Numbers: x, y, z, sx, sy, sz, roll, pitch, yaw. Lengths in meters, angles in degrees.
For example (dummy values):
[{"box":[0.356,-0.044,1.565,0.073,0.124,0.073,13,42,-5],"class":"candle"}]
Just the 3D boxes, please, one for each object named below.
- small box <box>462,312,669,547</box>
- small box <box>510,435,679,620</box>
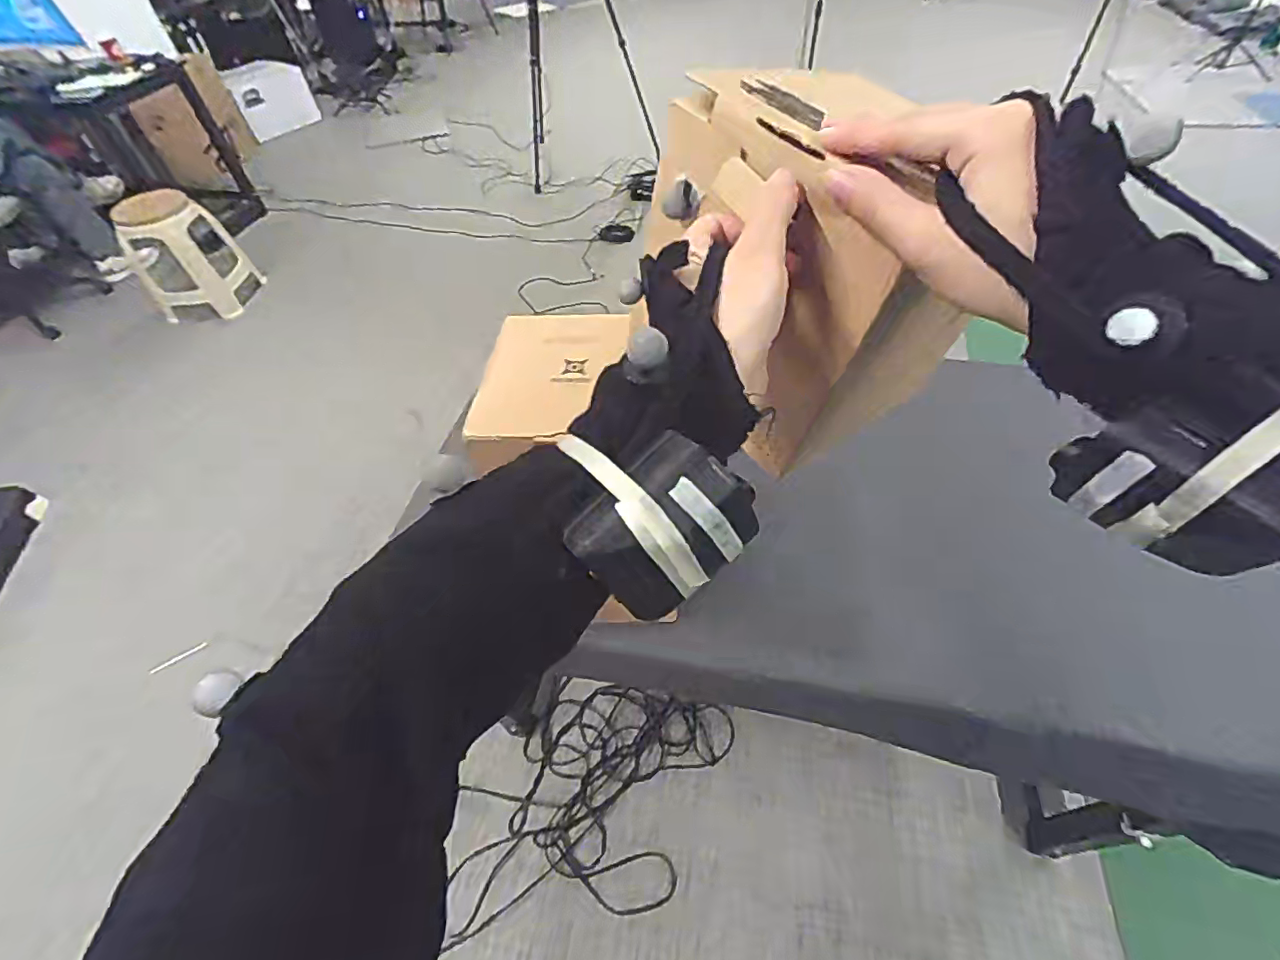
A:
[{"box":[-0.056,-0.047,0.544,0.168,0.176,0.179,1,49,3],"class":"small box"},{"box":[-0.042,0.061,0.665,0.179,0.176,0.168,-1,50,3],"class":"small box"}]
